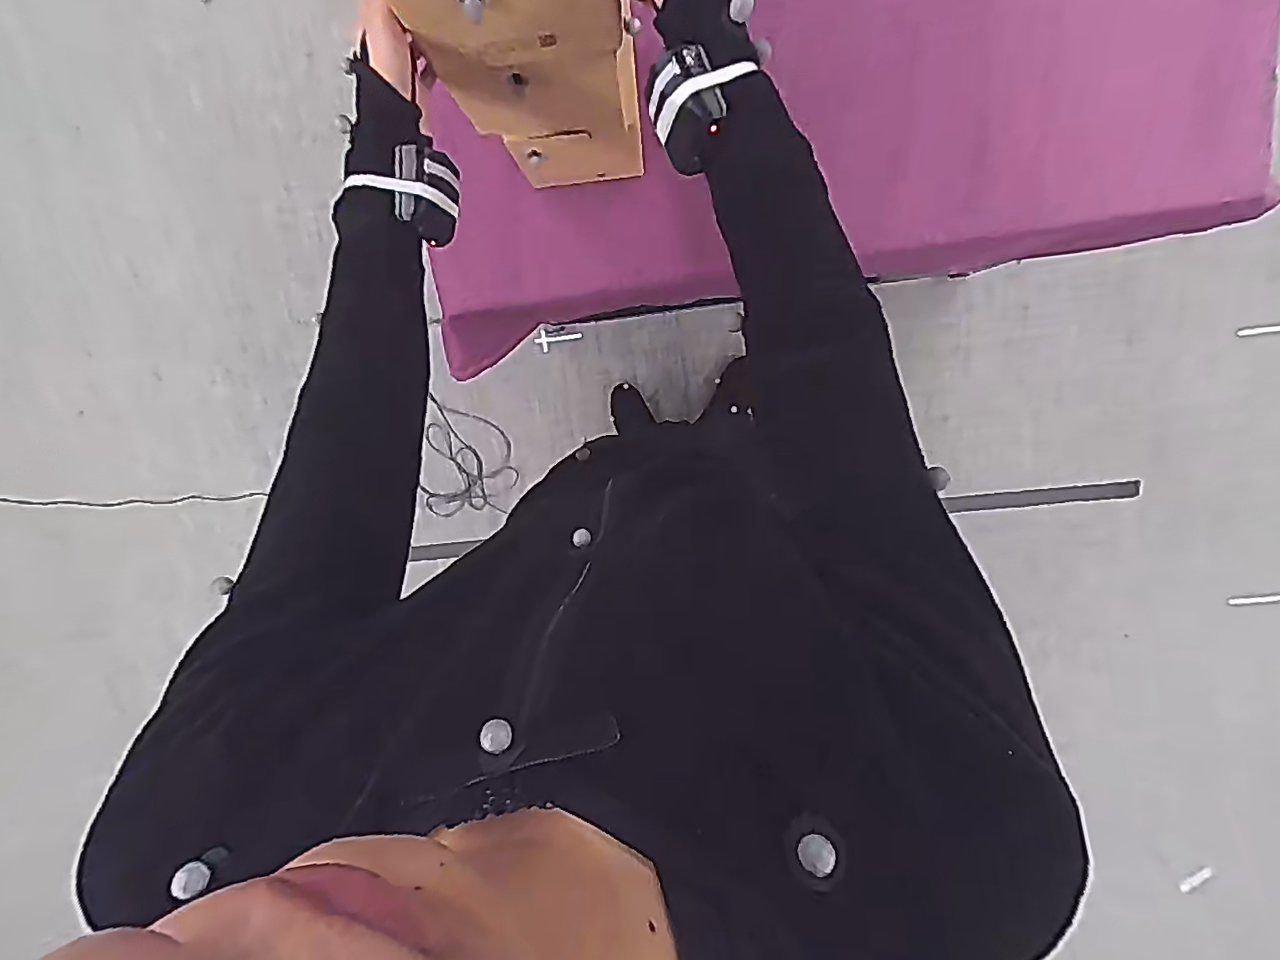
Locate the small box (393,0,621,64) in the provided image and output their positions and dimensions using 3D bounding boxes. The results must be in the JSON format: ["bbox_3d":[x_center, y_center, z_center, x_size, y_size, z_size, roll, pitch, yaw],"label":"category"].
[{"bbox_3d":[-0.107,-0.436,0.386,0.168,0.176,0.179,-6,100,3],"label":"small box"}]

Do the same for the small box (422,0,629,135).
[{"bbox_3d":[-0.104,-0.471,0.545,0.179,0.176,0.168,1,101,1],"label":"small box"}]
